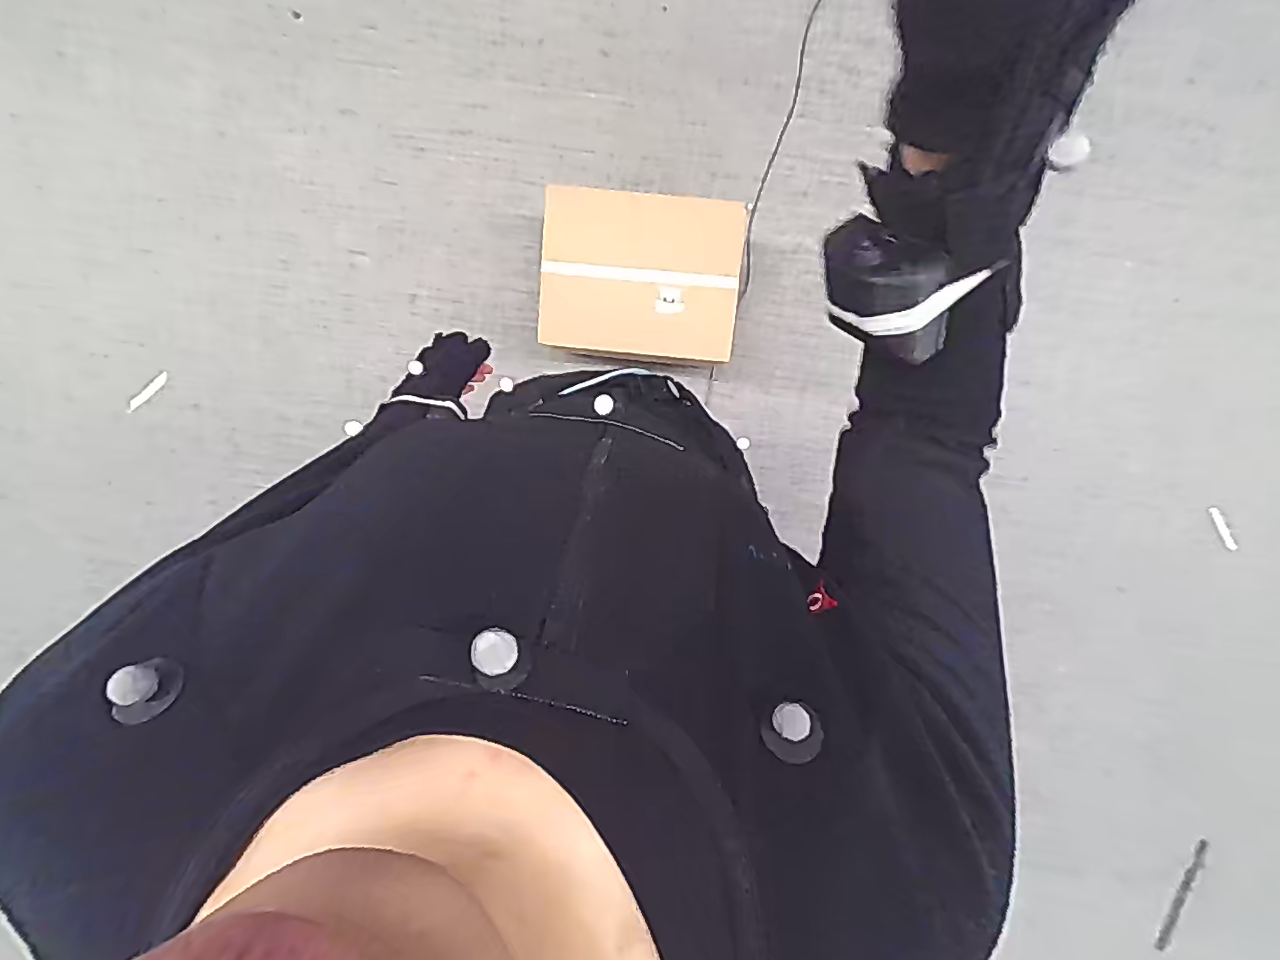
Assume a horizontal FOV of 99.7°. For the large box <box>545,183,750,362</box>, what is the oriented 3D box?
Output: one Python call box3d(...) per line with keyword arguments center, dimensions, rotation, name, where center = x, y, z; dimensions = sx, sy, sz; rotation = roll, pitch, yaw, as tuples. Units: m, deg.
box3d(center=(0.012, -0.452, 1.253), dimensions=(0.408, 0.320, 0.320), rotation=(6, 101, 0), name="large box")
